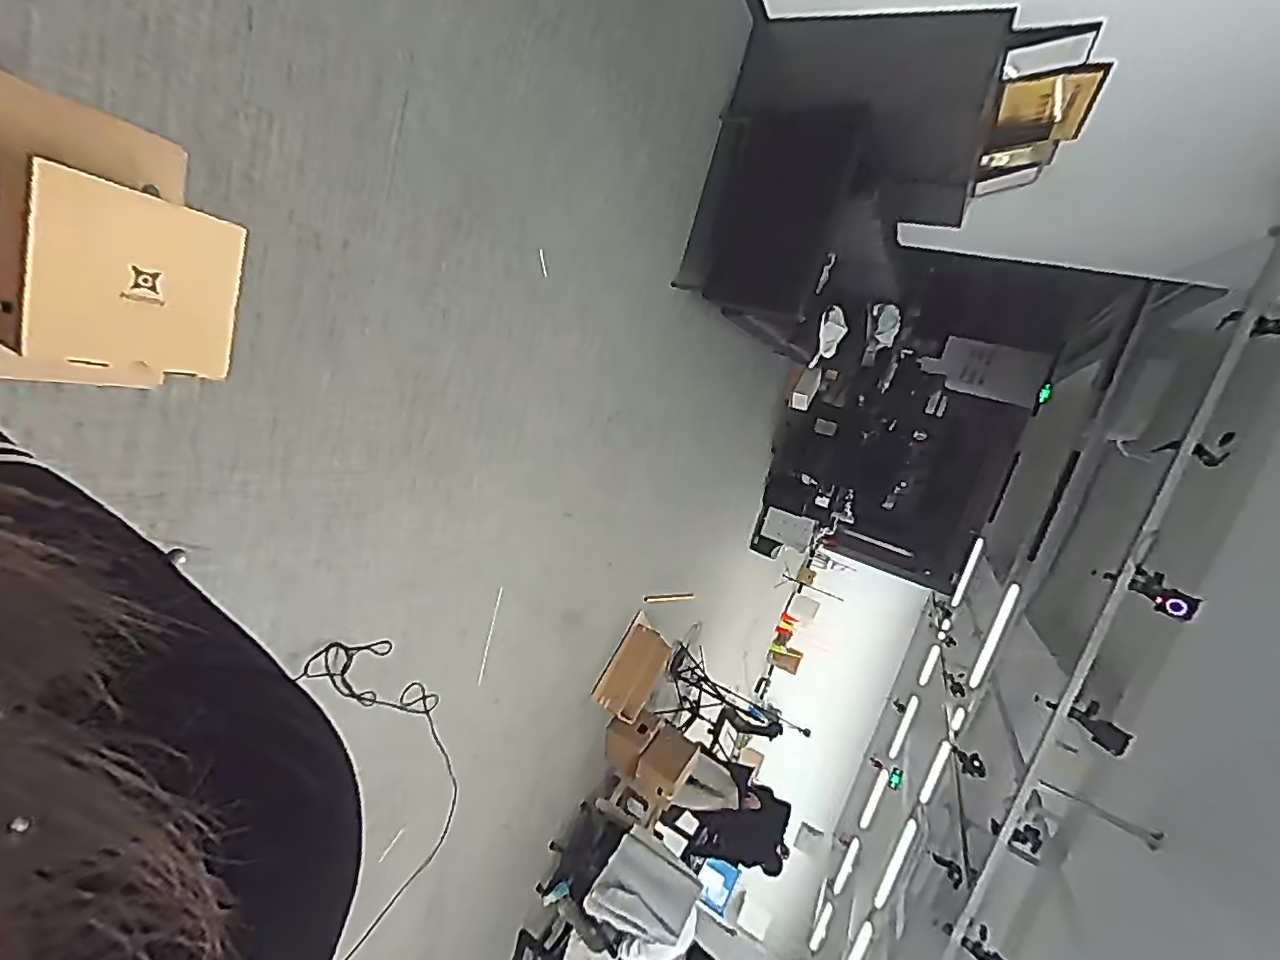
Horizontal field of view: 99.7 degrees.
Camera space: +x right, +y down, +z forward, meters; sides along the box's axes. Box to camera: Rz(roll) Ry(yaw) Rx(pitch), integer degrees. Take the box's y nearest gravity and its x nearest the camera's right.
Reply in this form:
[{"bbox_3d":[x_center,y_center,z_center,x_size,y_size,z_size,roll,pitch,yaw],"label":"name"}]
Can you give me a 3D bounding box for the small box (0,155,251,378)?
[{"bbox_3d":[-0.561,-0.224,0.582,0.168,0.176,0.179,-5,114,-61],"label":"small box"}]
